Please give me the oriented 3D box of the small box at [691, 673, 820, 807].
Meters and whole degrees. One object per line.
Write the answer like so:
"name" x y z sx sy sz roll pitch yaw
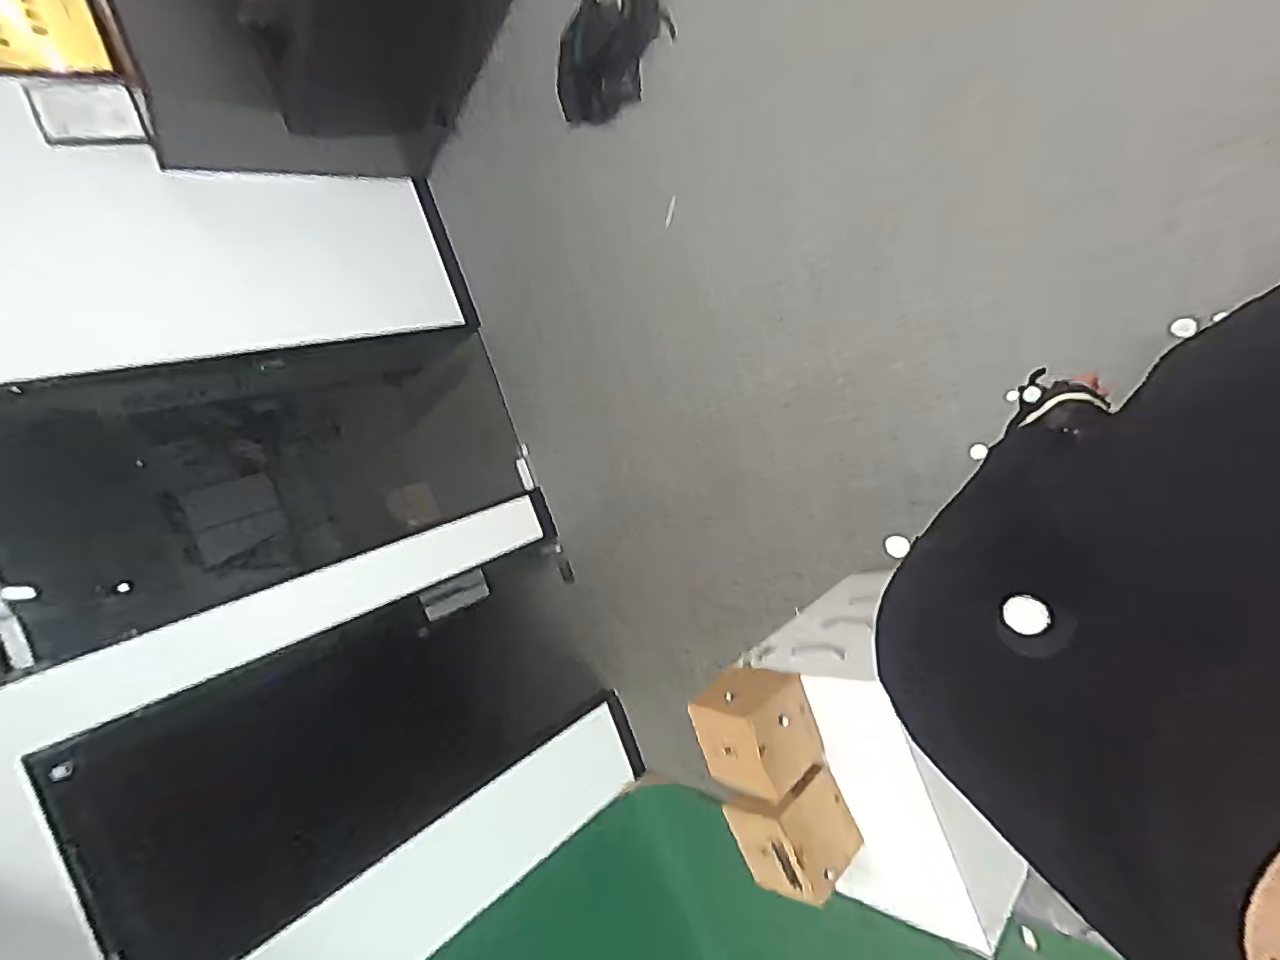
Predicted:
"small box" 0.239 0.509 1.090 0.179 0.176 0.168 -16 93 53
